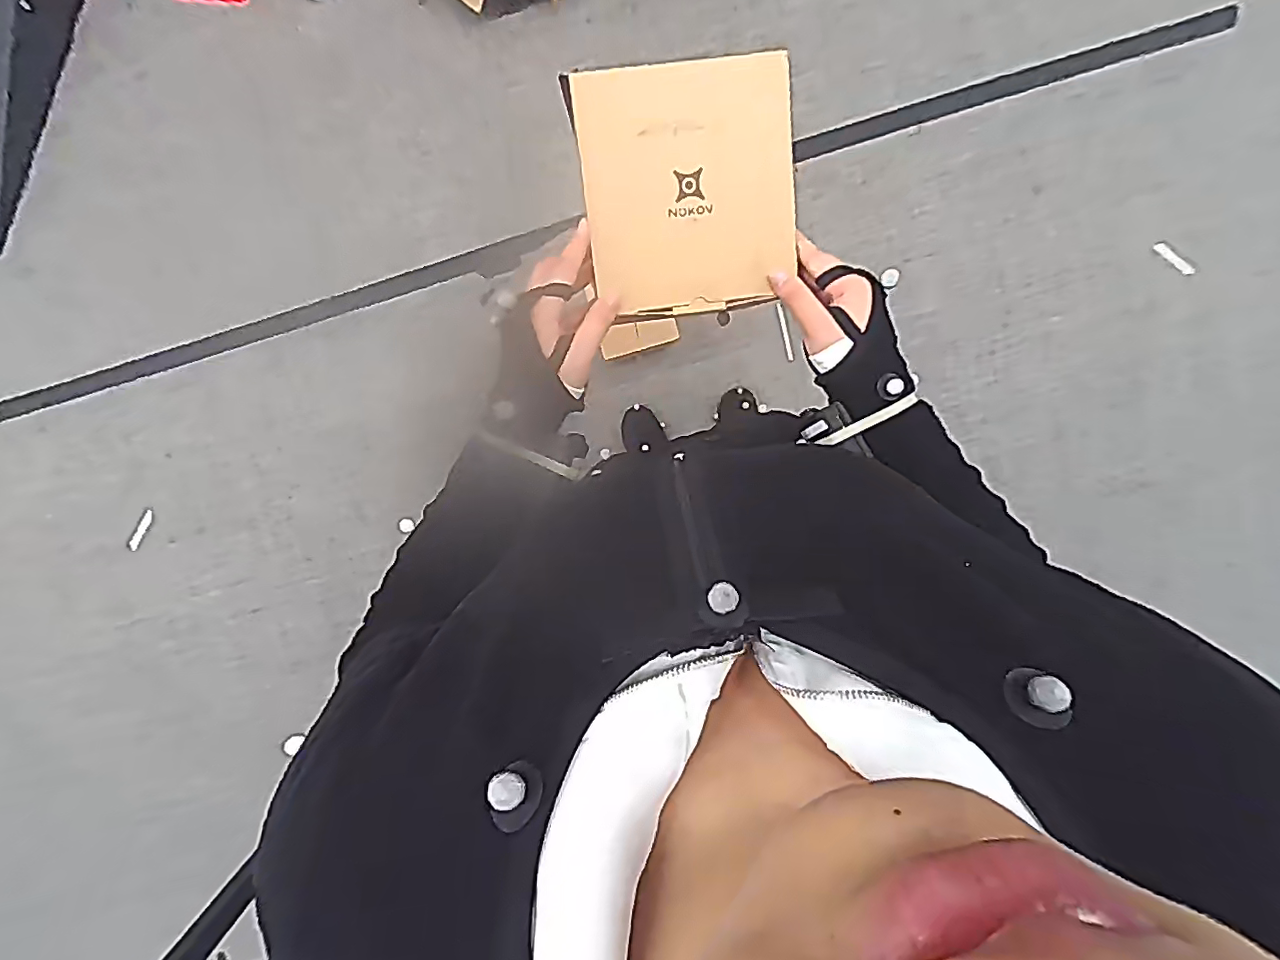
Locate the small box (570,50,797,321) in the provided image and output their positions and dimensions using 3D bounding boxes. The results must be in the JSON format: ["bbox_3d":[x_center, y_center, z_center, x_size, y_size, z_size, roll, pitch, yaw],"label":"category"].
[{"bbox_3d":[0.033,-0.245,0.498,0.168,0.176,0.179,-9,103,-3],"label":"small box"}]

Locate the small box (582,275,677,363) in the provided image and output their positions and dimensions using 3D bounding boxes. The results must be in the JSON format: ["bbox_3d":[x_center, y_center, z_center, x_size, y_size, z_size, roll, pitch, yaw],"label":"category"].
[{"bbox_3d":[-0.023,-0.364,1.193,0.168,0.176,0.179,-15,101,3],"label":"small box"}]
